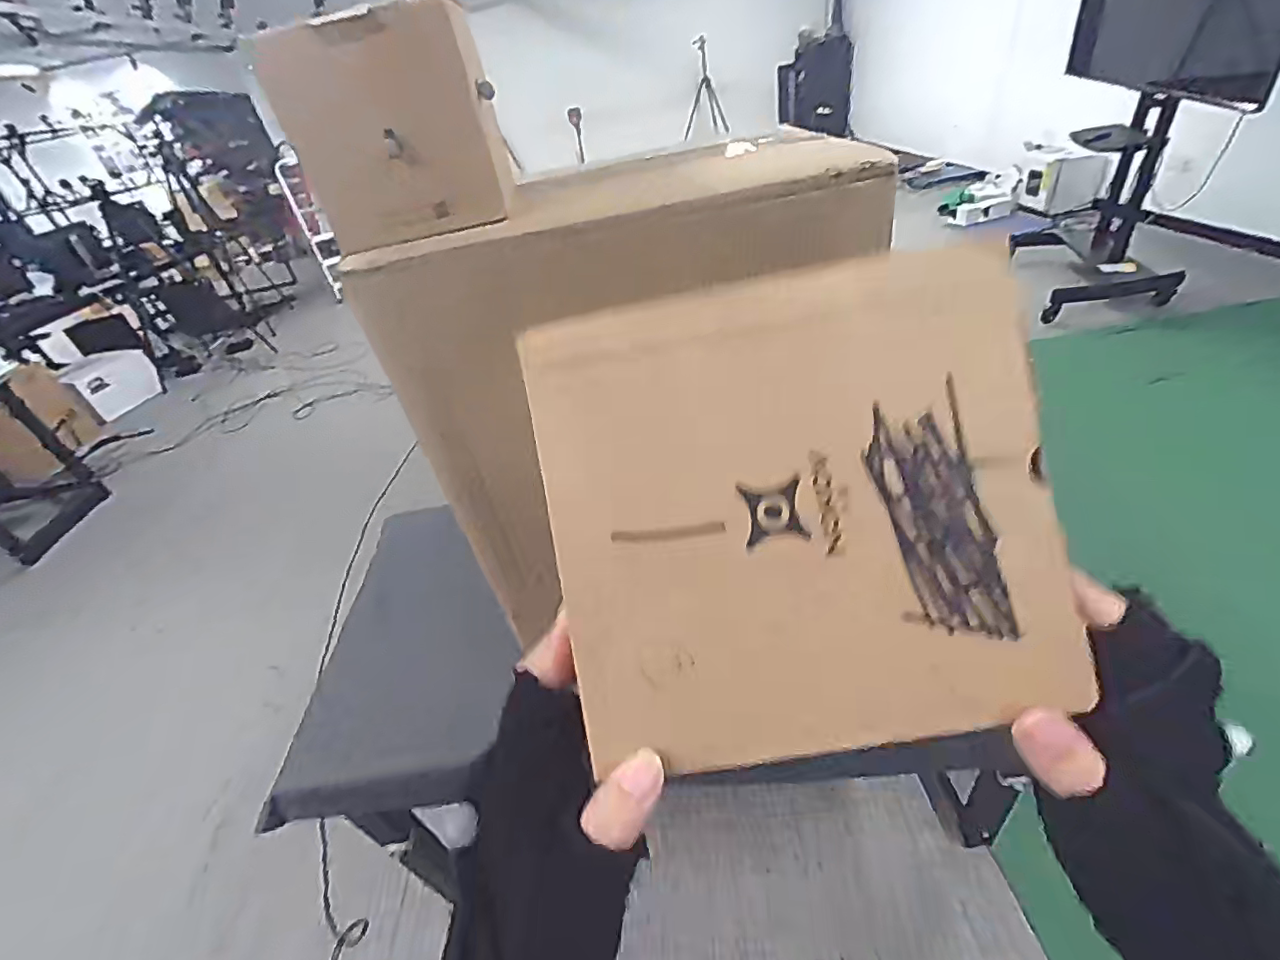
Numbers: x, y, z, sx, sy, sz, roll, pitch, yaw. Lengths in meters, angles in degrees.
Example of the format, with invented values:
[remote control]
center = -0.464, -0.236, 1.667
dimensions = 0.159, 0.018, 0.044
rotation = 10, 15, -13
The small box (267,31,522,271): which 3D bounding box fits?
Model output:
[small box]
center = -0.225, -0.330, 0.553
dimensions = 0.168, 0.176, 0.179
rotation = -15, 39, -2
